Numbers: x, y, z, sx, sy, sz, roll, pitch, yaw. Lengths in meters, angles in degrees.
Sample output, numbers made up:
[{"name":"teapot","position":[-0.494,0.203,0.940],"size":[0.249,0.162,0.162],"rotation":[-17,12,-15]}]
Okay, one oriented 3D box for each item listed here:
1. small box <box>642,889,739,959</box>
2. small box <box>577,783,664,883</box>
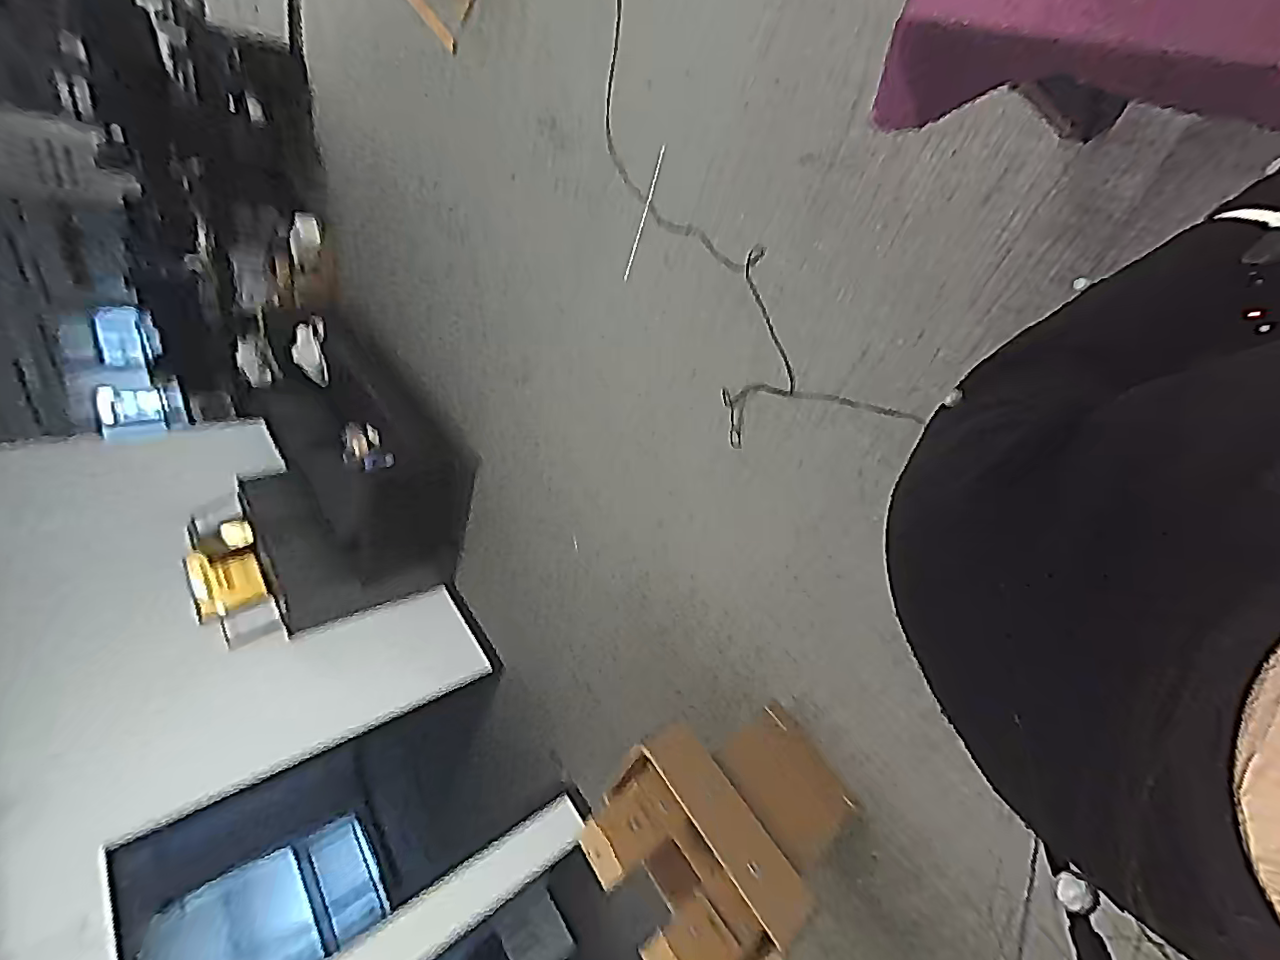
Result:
[{"name":"small box","position":[0.139,1.253,1.452],"size":[0.168,0.176,0.179],"rotation":[45,131,32]},{"name":"small box","position":[-0.054,1.041,1.607],"size":[0.168,0.176,0.179],"rotation":[50,133,27]}]
